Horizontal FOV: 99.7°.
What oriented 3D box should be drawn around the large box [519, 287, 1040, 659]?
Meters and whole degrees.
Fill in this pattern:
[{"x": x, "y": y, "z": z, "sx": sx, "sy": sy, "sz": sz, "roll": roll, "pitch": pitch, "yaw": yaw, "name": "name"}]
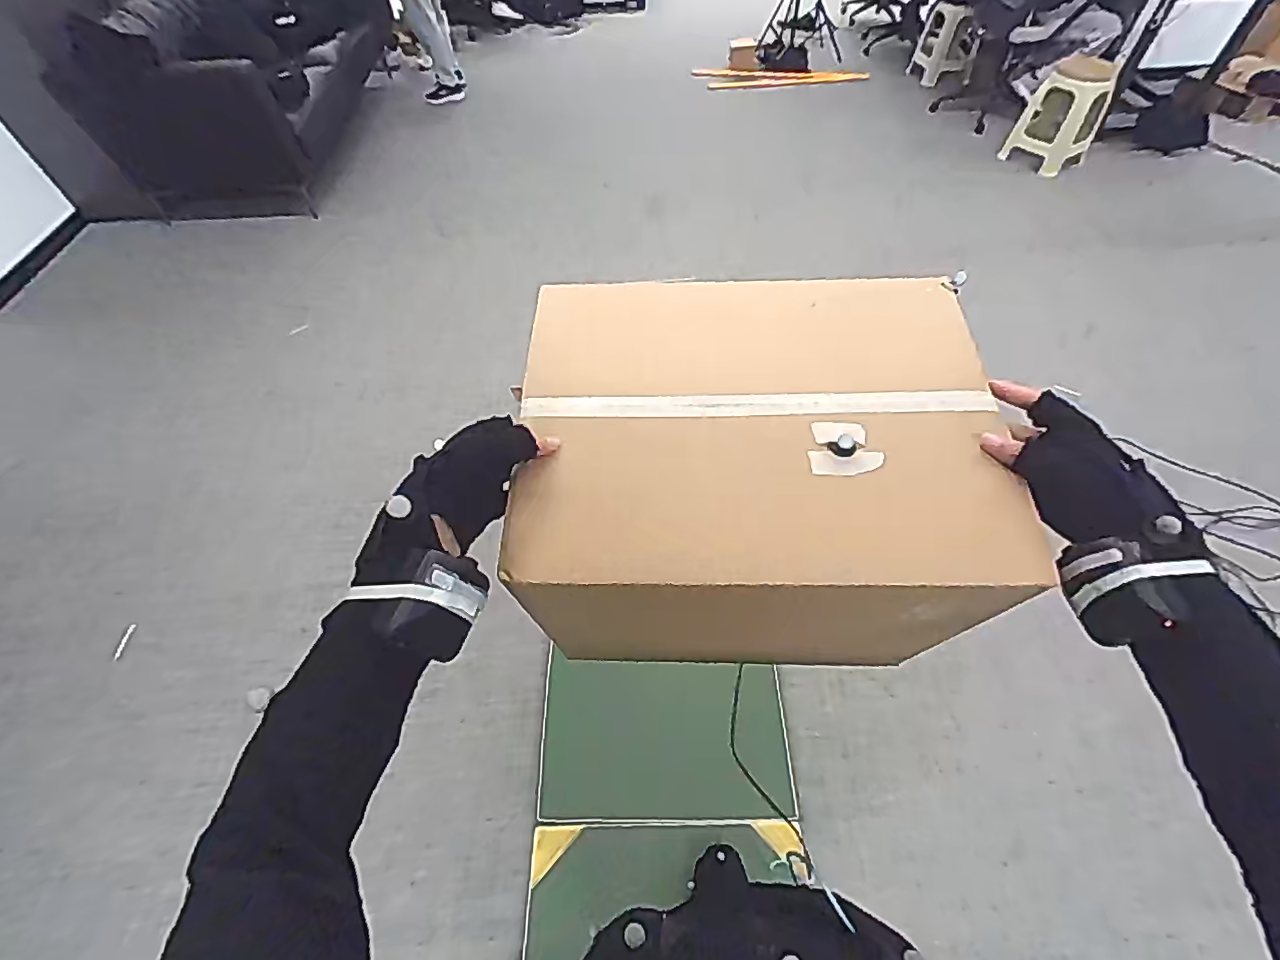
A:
[{"x": 0.106, "y": 0.012, "z": 0.609, "sx": 0.408, "sy": 0.320, "sz": 0.320, "roll": 0, "pitch": 61, "yaw": 2, "name": "large box"}]
